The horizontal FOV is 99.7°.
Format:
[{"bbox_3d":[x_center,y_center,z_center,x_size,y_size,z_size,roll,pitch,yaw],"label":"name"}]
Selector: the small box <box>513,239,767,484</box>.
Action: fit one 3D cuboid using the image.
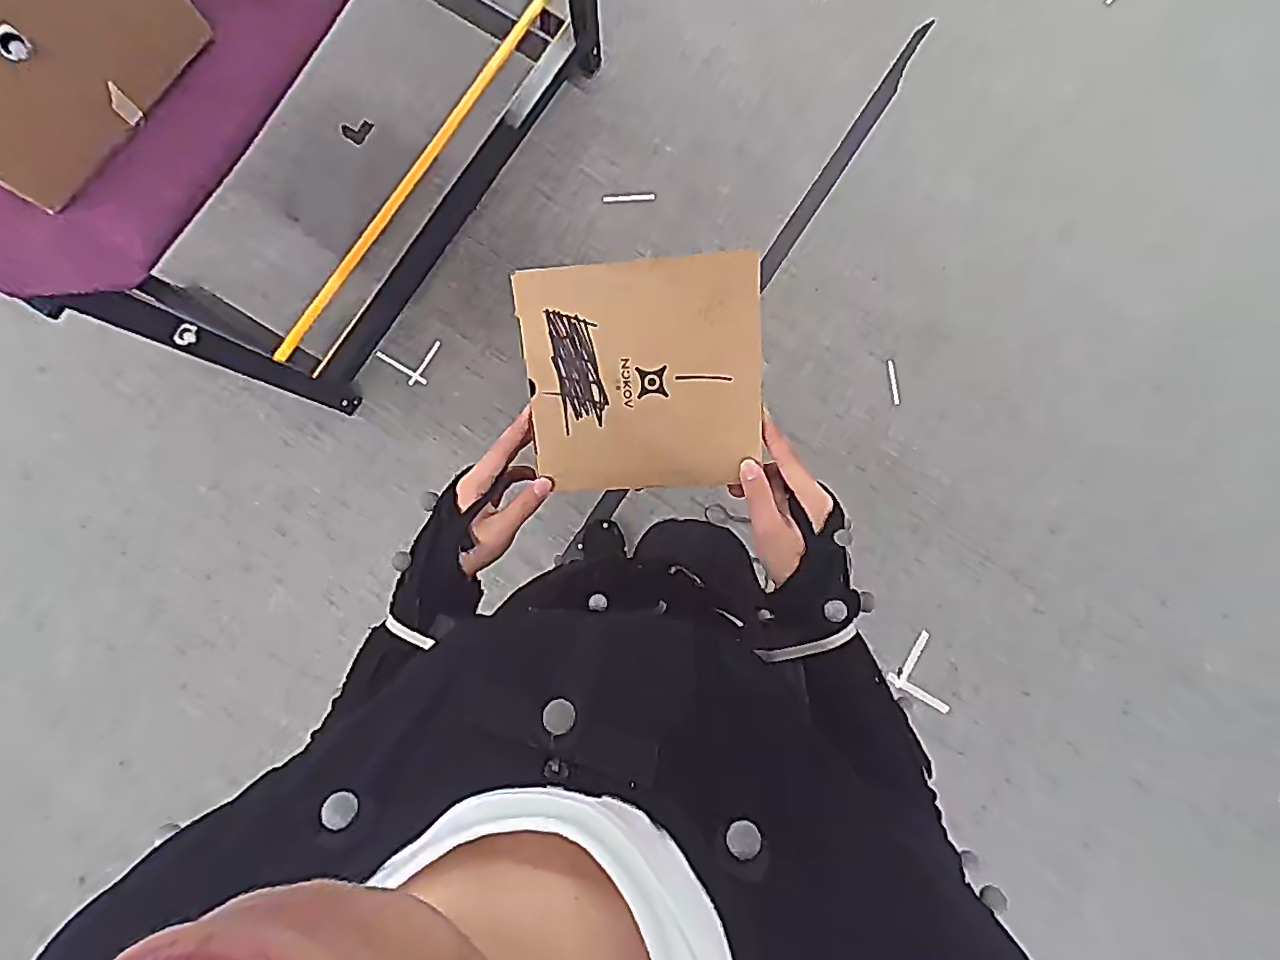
[{"bbox_3d":[0.011,-0.099,0.462,0.179,0.176,0.168,-3,106,6],"label":"small box"}]
